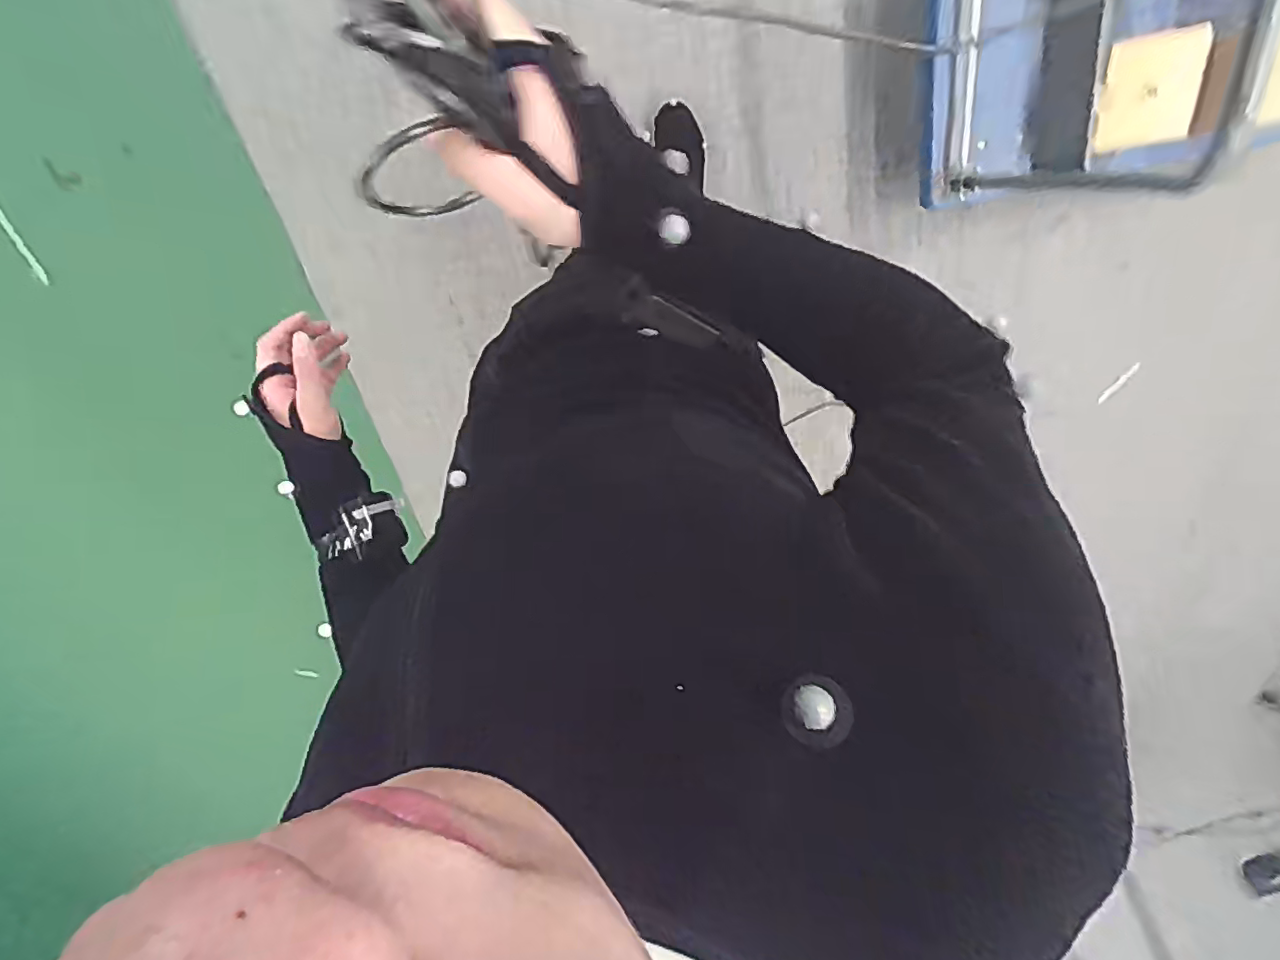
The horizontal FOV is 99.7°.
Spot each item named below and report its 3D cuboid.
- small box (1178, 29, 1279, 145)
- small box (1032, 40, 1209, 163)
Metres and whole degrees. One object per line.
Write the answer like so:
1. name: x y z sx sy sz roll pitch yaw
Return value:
1. small box: 1.179 -0.764 1.048 0.179 0.176 0.168 -10 117 5
2. small box: 0.924 -0.731 1.061 0.179 0.176 0.168 -8 118 4
